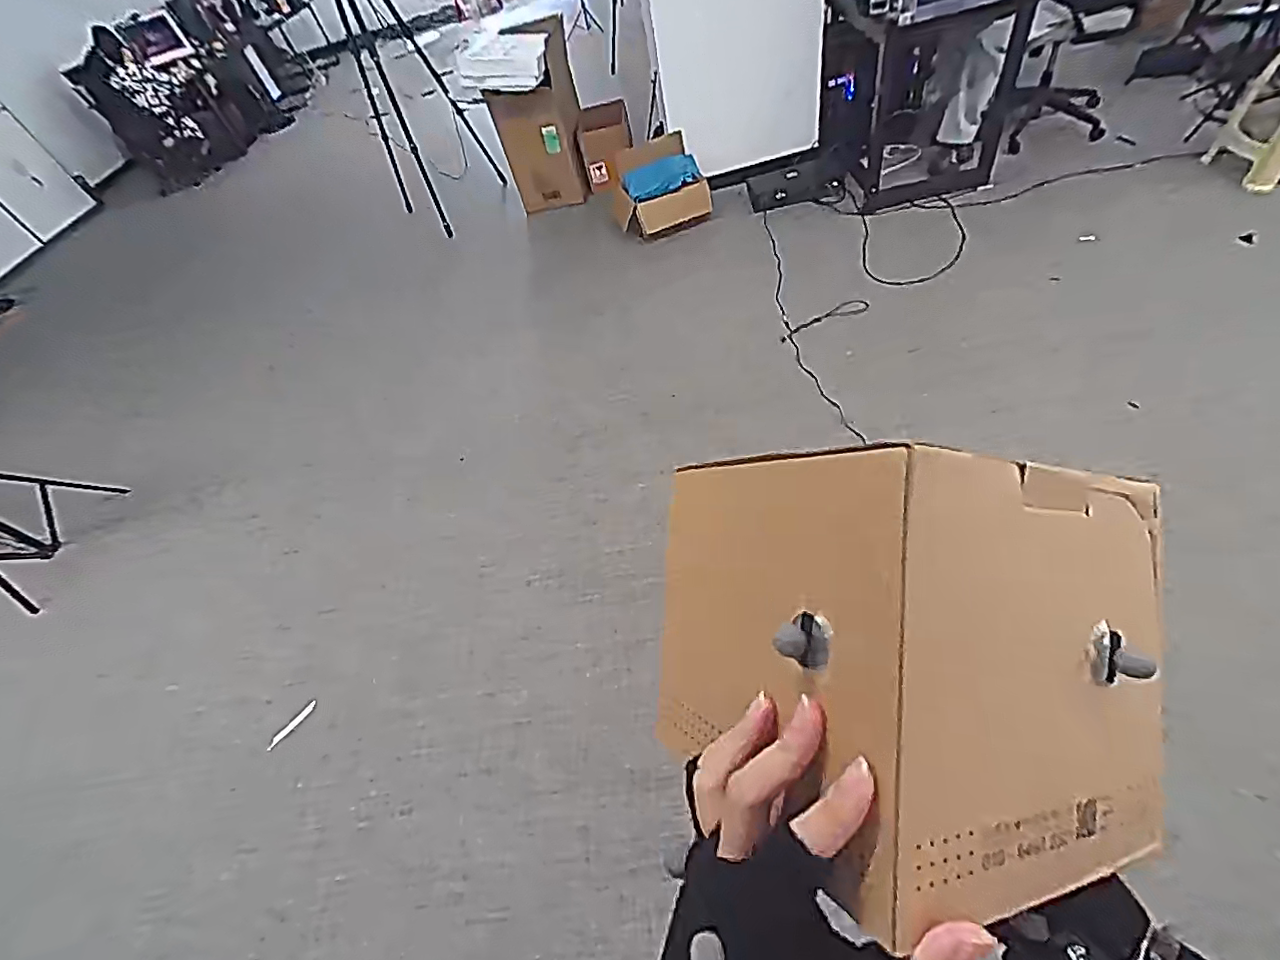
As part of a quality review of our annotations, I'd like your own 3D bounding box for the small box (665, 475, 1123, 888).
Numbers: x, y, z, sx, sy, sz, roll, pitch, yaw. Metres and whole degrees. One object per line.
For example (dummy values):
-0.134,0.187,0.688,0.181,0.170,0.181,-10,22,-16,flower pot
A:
0.125,0.090,0.304,0.168,0.179,0.176,6,85,-24,small box
